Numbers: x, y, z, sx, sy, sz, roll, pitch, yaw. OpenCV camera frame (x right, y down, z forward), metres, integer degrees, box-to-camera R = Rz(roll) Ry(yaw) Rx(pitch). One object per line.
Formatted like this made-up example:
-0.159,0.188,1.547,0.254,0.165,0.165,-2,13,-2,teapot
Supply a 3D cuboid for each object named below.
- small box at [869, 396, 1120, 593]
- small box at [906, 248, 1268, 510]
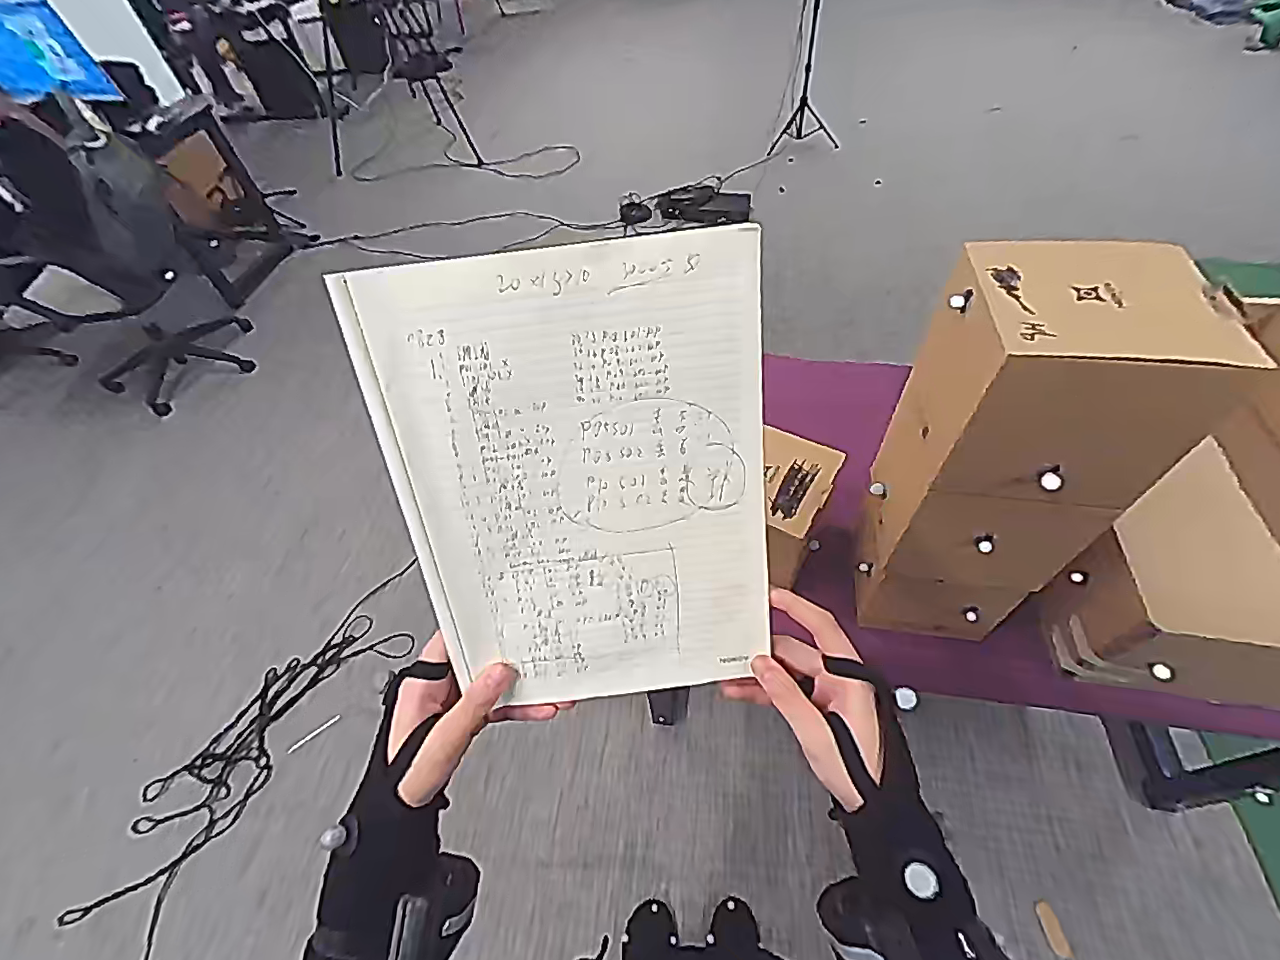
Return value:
0.382,0.014,0.625,0.179,0.176,0.168,6,51,10,small box
0.371,-0.089,0.497,0.179,0.176,0.168,6,51,9,small box
